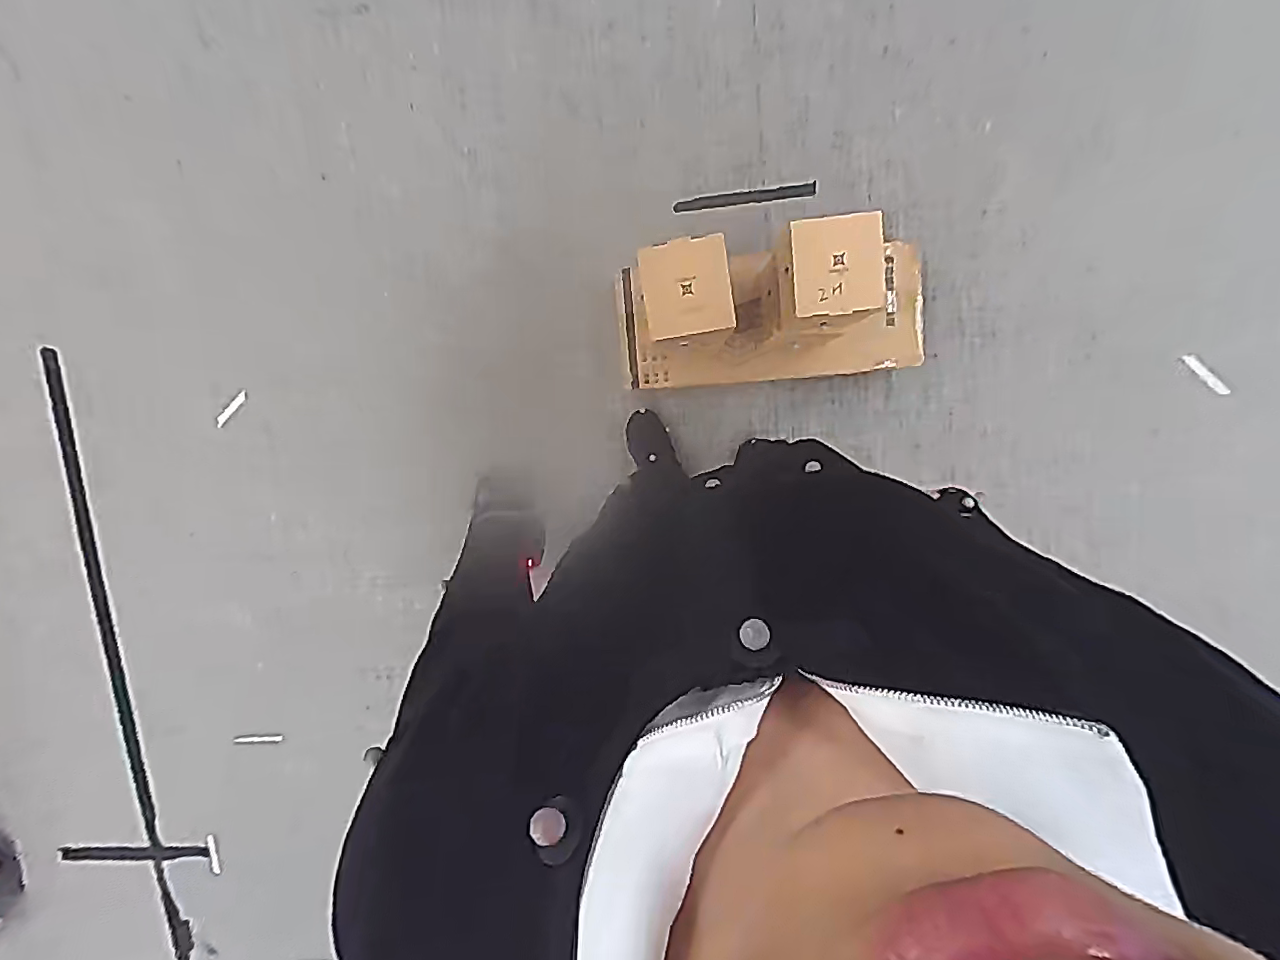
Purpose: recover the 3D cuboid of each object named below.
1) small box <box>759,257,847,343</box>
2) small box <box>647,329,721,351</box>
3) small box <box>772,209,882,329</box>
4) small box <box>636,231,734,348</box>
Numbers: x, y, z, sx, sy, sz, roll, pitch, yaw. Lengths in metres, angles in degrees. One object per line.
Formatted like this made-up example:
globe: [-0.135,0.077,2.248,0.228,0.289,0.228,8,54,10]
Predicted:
small box: [0.368,-0.415,1.238,0.168,0.176,0.179,-1,98,4]
small box: [0.100,-0.396,1.254,0.168,0.176,0.179,-3,98,4]
small box: [0.362,-0.409,1.072,0.168,0.176,0.179,-5,97,4]
small box: [0.088,-0.374,1.092,0.168,0.176,0.179,-10,97,5]
